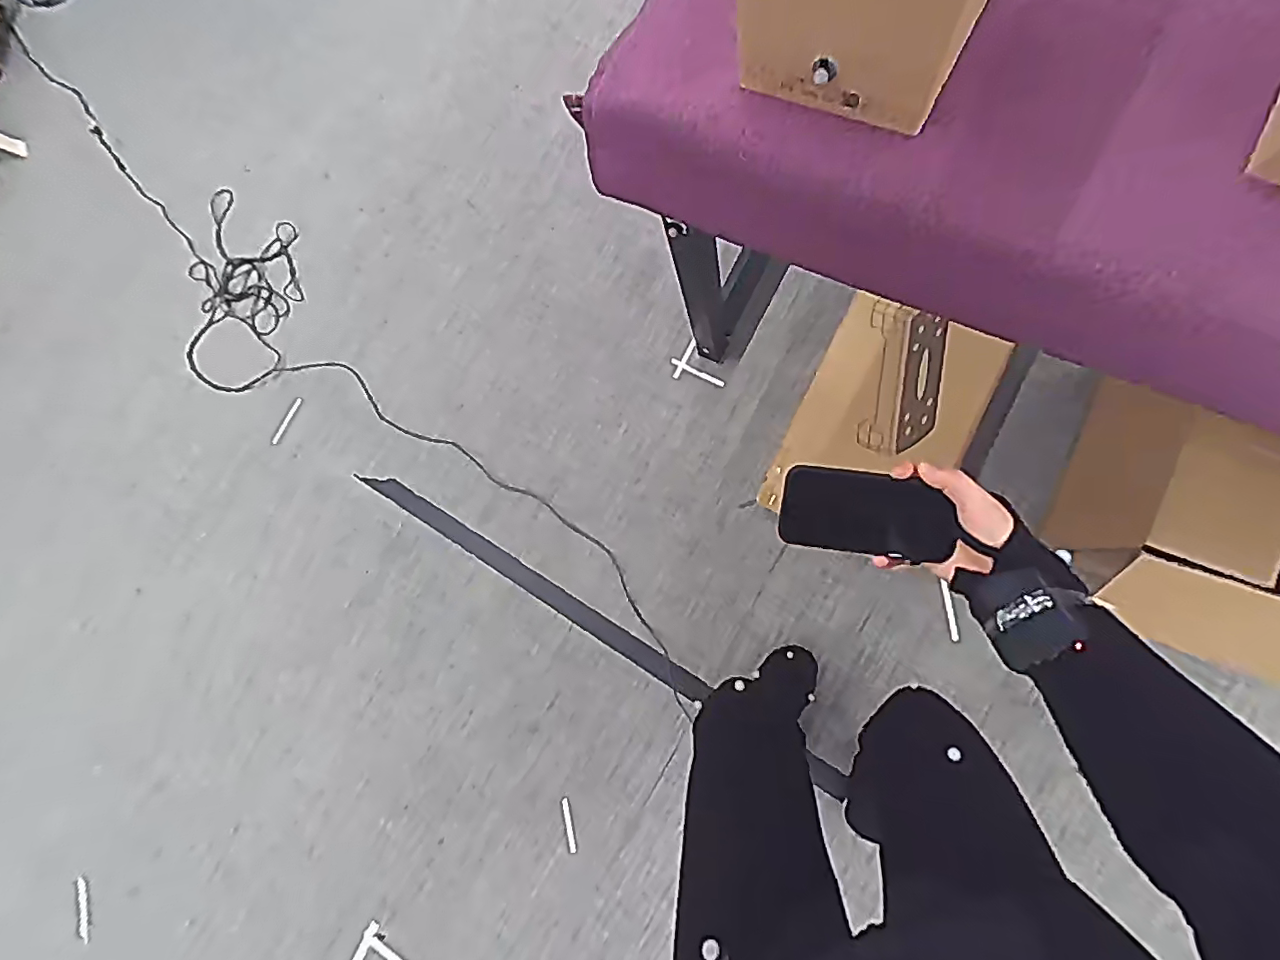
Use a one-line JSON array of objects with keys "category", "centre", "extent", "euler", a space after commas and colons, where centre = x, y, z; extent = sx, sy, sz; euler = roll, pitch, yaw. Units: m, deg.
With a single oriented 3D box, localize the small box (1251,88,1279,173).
[{"category": "small box", "centre": [0.540, -0.275, 0.302], "extent": [0.179, 0.176, 0.168], "euler": [27, 86, 14]}]
